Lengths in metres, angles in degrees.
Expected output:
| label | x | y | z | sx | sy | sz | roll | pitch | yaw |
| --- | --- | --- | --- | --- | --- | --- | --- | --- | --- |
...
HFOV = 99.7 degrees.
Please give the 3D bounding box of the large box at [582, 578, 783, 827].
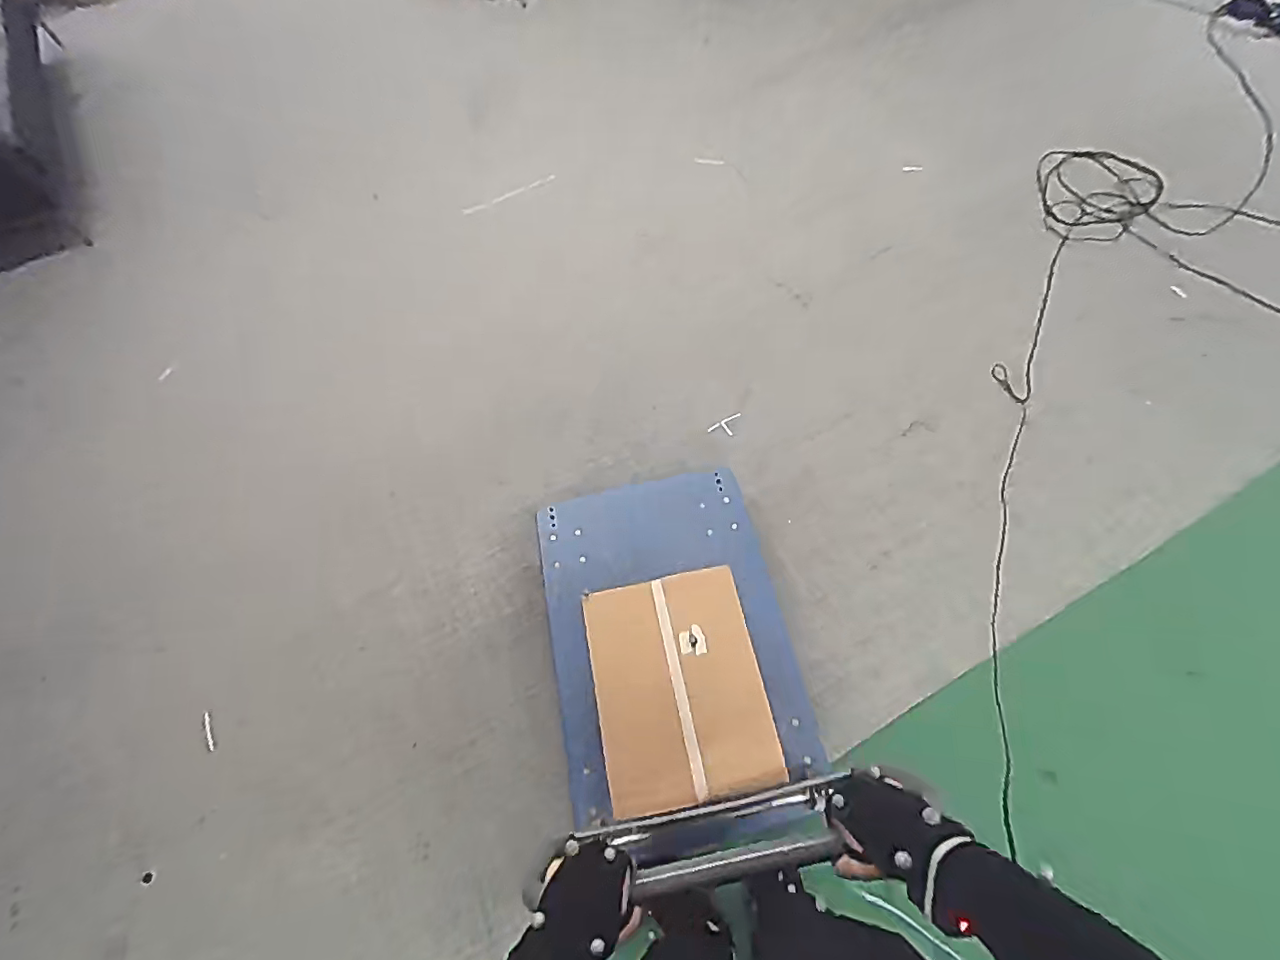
| label | x | y | z | sx | sy | sz | roll | pitch | yaw |
| --- | --- | --- | --- | --- | --- | --- | --- | --- | --- |
| large box | 0.078 | 0.475 | 1.166 | 0.320 | 0.320 | 0.408 | -11 | 62 | -2 |
